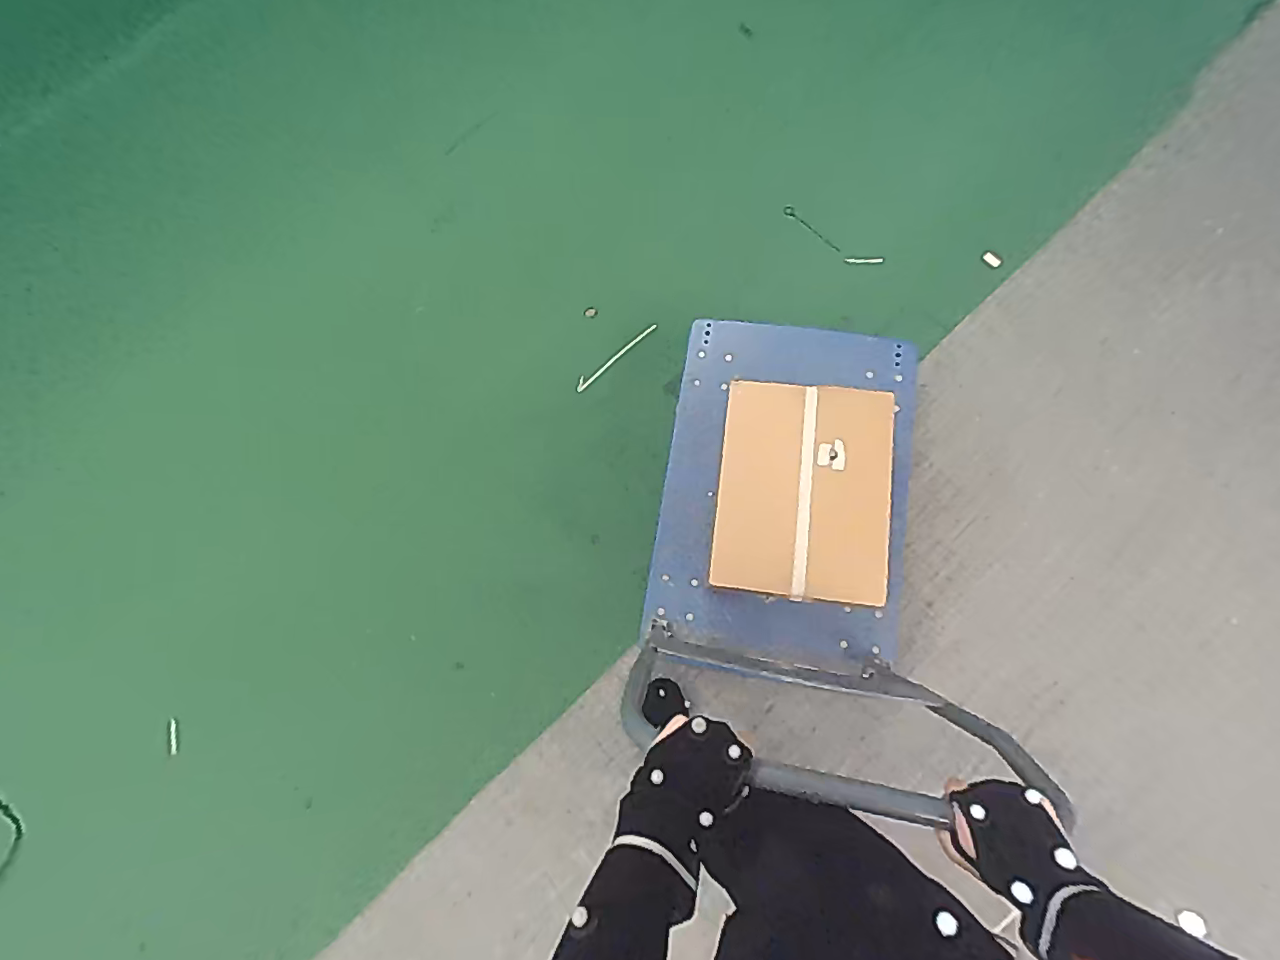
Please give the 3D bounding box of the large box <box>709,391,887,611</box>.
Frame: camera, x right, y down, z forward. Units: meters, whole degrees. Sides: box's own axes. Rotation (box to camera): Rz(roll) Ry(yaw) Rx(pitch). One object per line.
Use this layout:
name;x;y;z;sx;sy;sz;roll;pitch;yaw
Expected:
large box;0.317;0.063;1.157;0.320;0.320;0.408;6;78;7
